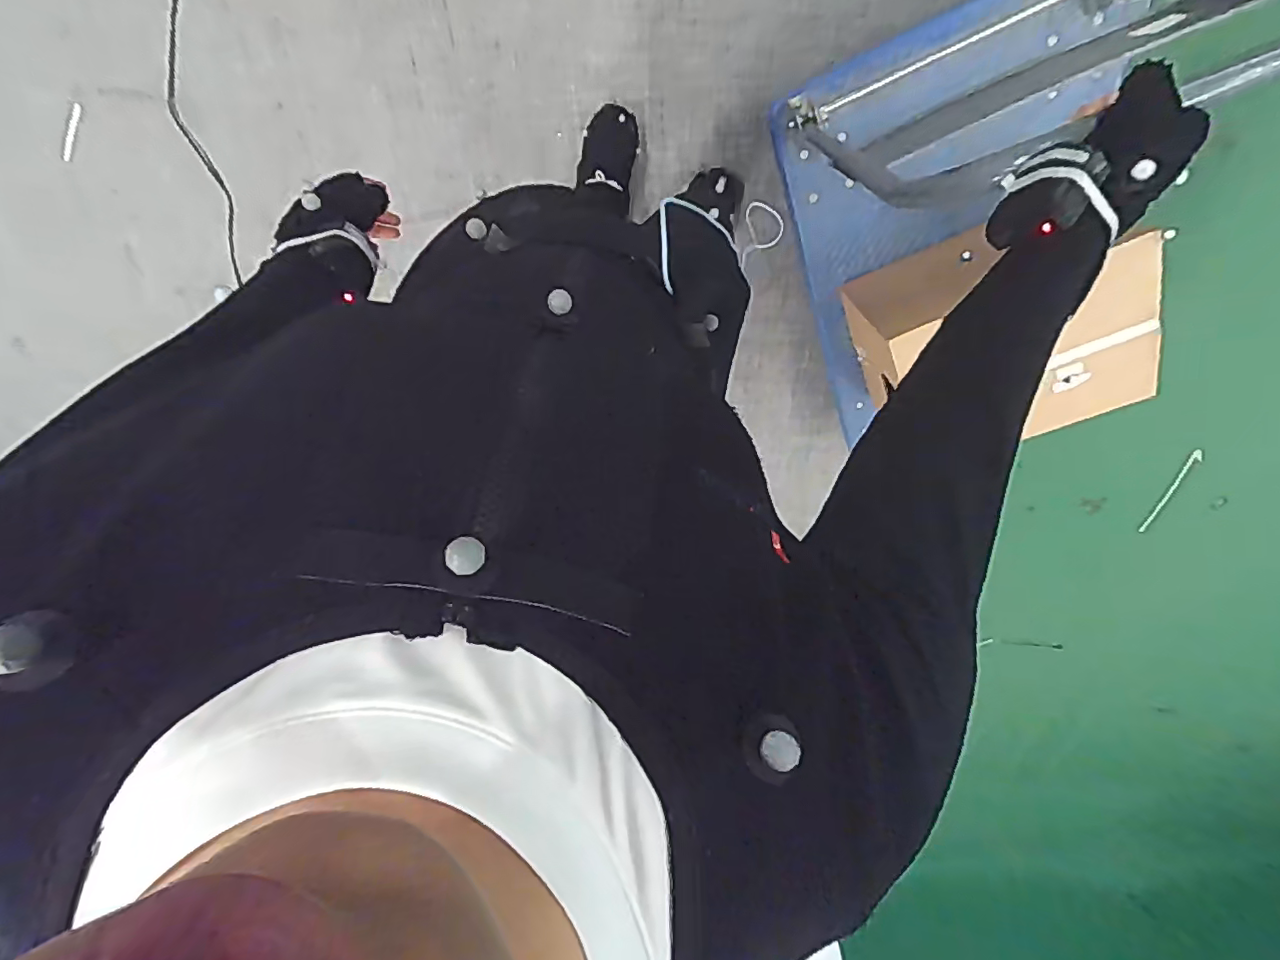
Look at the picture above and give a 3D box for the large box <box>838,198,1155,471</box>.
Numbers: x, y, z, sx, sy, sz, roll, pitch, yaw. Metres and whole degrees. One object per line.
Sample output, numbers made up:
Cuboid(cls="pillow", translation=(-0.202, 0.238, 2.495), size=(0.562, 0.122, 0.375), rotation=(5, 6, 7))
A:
Cuboid(cls="large box", translation=(0.662, -0.284, 1.059), size=(0.408, 0.320, 0.320), rotation=(-22, 123, 16))
